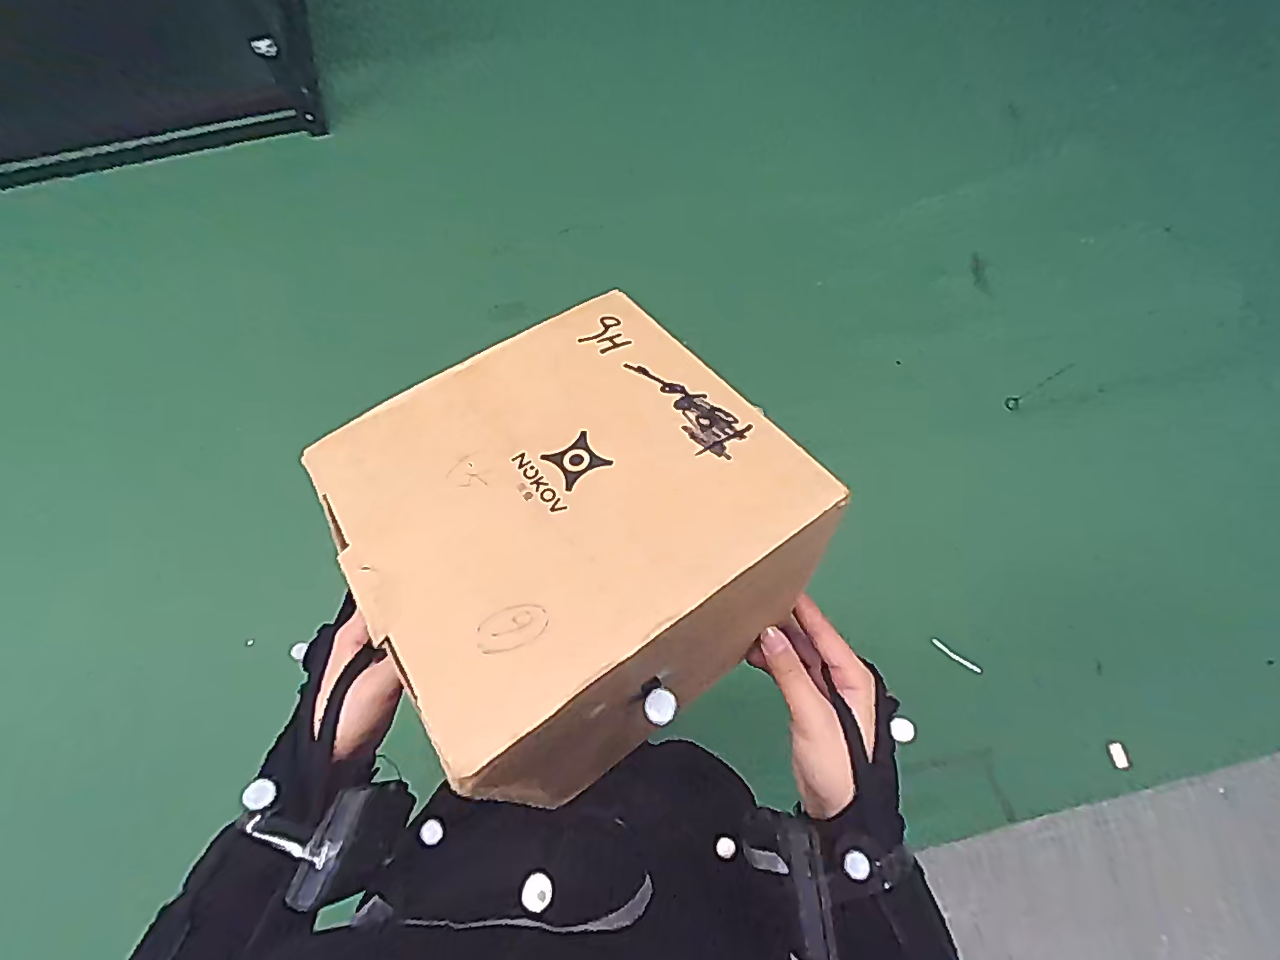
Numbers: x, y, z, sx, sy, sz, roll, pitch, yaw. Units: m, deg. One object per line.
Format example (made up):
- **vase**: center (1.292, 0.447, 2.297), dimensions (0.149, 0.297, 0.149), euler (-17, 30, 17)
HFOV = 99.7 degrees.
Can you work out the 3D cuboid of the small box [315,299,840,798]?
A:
- **small box**: center (-0.027, 0.043, 0.294), dimensions (0.179, 0.176, 0.168), euler (-32, 59, -15)
